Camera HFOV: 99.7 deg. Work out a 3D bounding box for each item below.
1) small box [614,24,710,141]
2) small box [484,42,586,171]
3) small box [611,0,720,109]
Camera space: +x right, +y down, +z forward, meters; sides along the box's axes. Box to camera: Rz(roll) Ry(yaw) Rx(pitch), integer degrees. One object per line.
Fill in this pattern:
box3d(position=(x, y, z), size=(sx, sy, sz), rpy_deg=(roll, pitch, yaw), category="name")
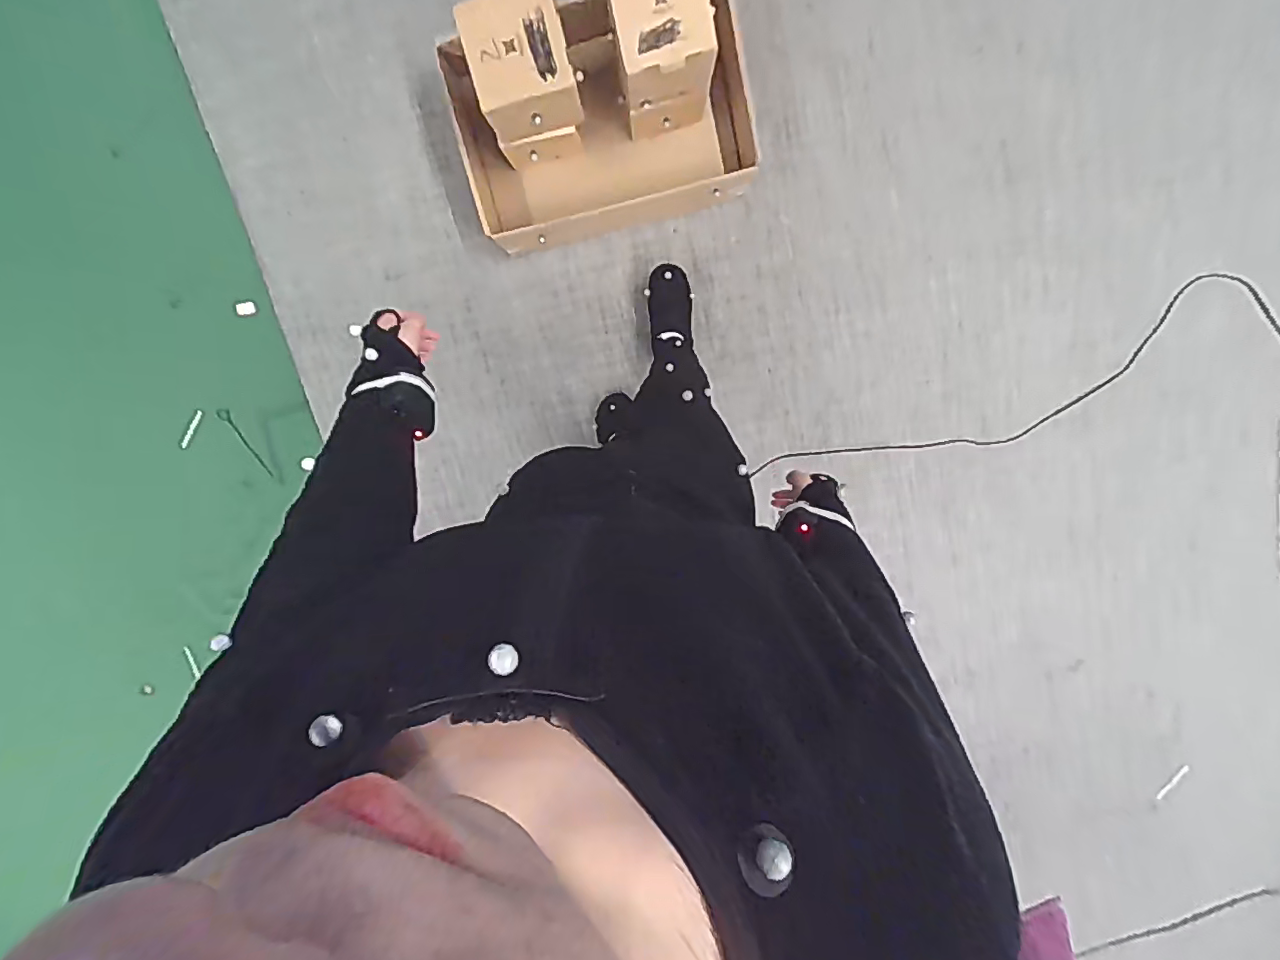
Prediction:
box3d(position=(0.048, -0.855, 1.156), size=(0.168, 0.176, 0.179), rpy_deg=(-13, 104, 4), category="small box")
box3d(position=(-0.218, -0.796, 1.177), size=(0.168, 0.176, 0.179), rpy_deg=(-10, 103, 2), category="small box")
box3d(position=(0.045, -0.818, 0.996), size=(0.168, 0.176, 0.179), rpy_deg=(-12, 104, 4), category="small box")
